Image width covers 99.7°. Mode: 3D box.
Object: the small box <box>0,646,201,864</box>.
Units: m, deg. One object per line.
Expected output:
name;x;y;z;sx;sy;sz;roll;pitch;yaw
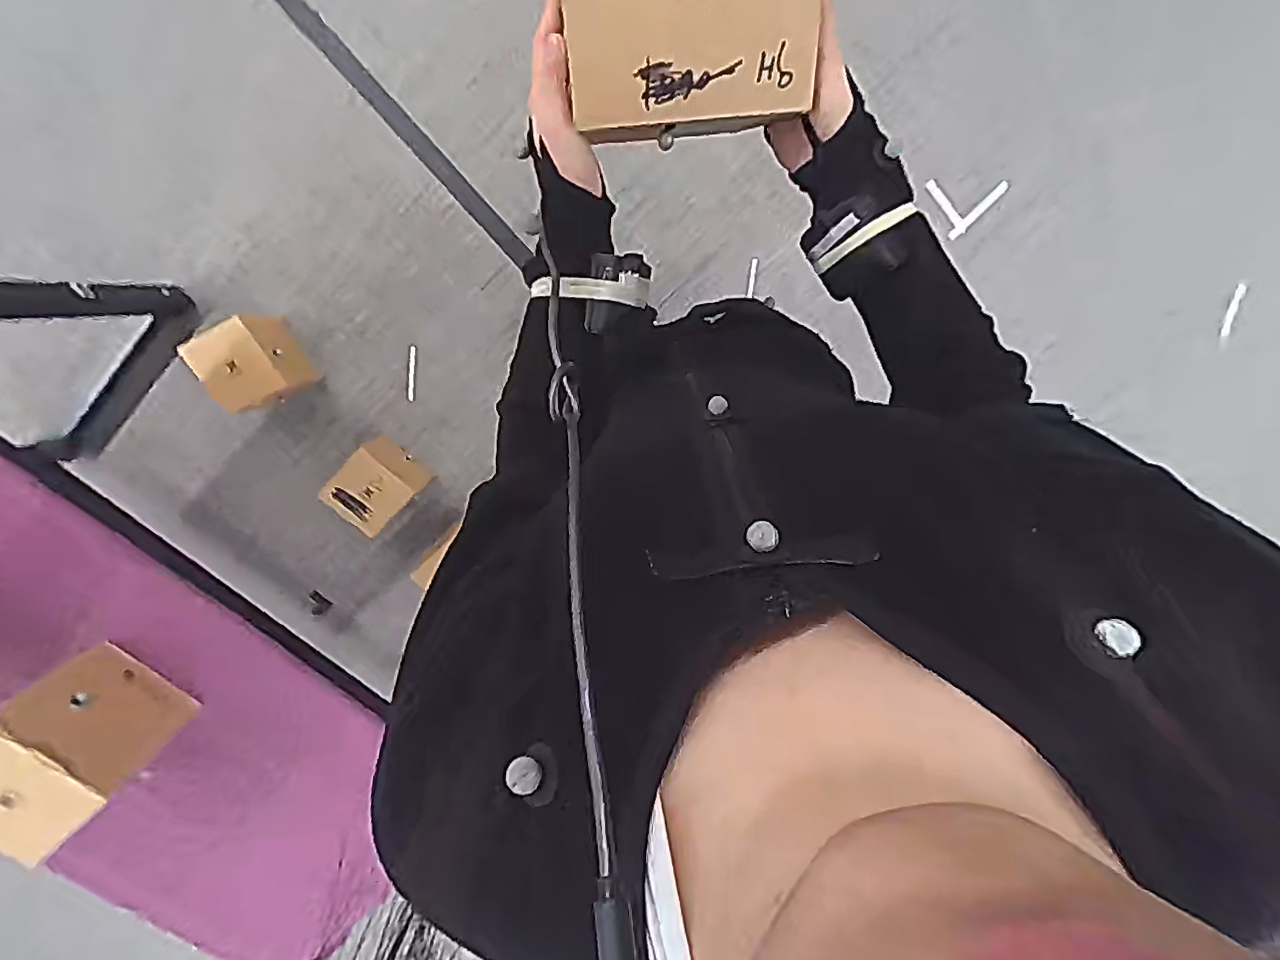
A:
small box;-0.769;0.367;0.747;0.179;0.176;0.168;-41;105;12

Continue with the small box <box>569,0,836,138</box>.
small box;0.033;-0.361;0.392;0.168;0.176;0.179;-6;119;-4

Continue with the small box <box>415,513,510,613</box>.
small box;-0.475;0.220;1.482;0.179;0.176;0.168;-41;106;11

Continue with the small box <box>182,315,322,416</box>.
small box;-0.916;-0.279;1.294;0.168;0.176;0.179;-26;109;5
